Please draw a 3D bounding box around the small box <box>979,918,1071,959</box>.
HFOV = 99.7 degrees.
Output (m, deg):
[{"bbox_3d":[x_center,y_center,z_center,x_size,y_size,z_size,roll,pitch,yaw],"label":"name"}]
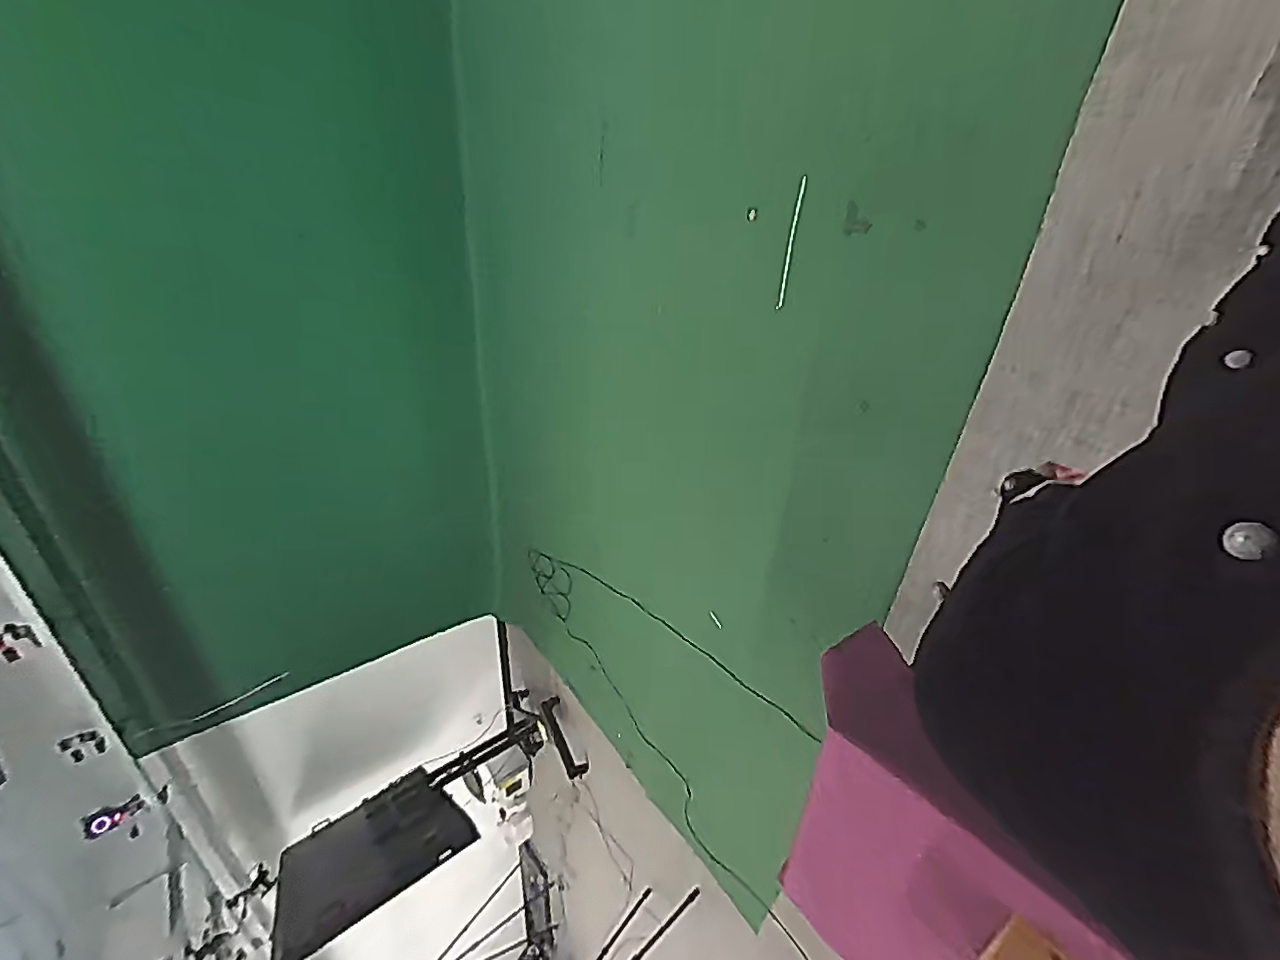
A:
[{"bbox_3d":[0.582,0.817,0.799,0.168,0.176,0.179,33,130,41],"label":"small box"}]
